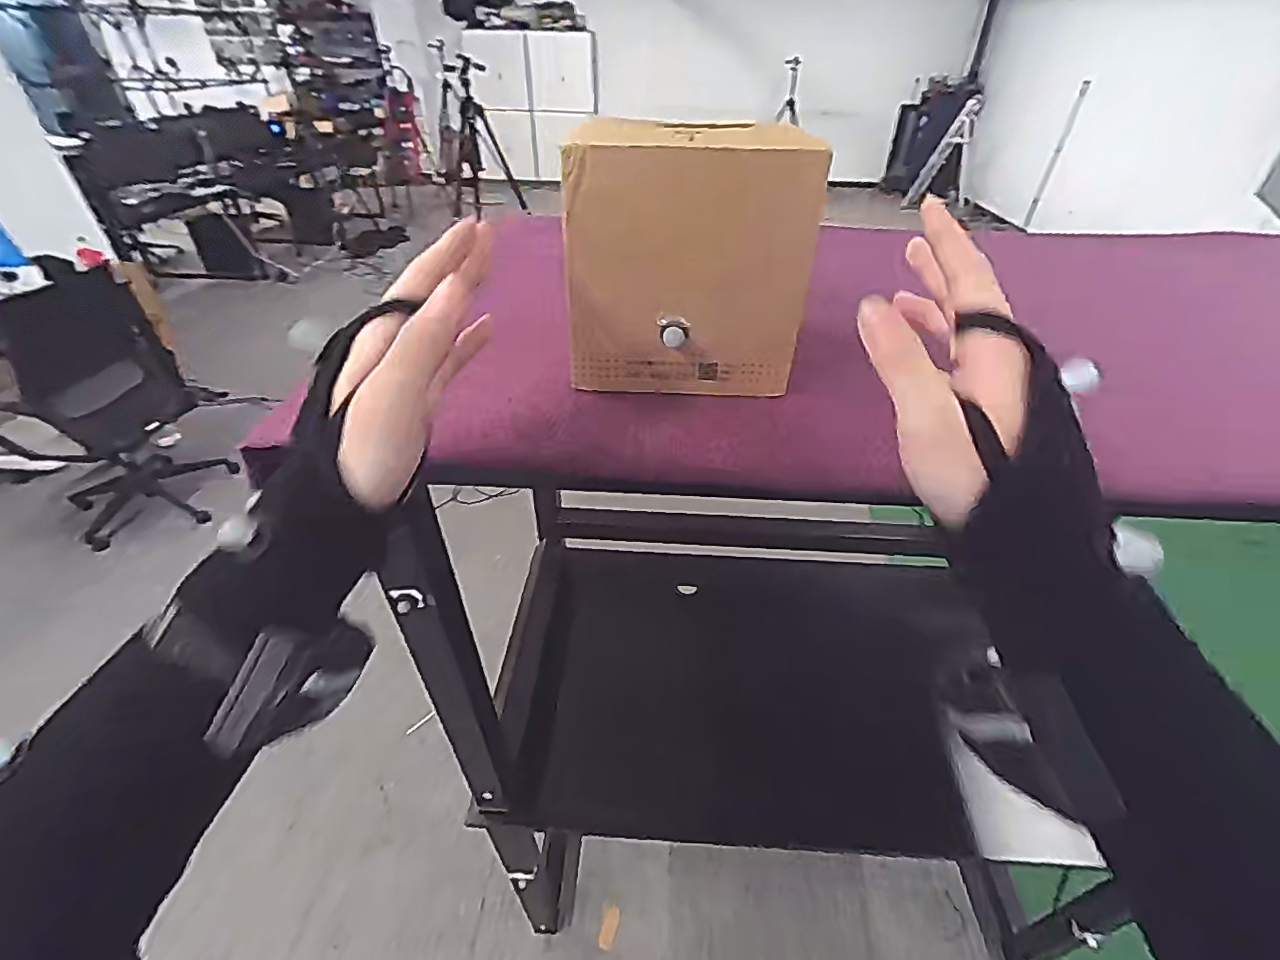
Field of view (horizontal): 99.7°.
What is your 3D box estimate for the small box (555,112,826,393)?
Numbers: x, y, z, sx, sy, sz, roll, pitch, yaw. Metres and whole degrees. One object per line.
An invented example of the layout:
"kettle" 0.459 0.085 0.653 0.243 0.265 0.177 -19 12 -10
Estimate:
"small box" 0.031 -0.187 0.434 0.168 0.176 0.179 2 38 1
